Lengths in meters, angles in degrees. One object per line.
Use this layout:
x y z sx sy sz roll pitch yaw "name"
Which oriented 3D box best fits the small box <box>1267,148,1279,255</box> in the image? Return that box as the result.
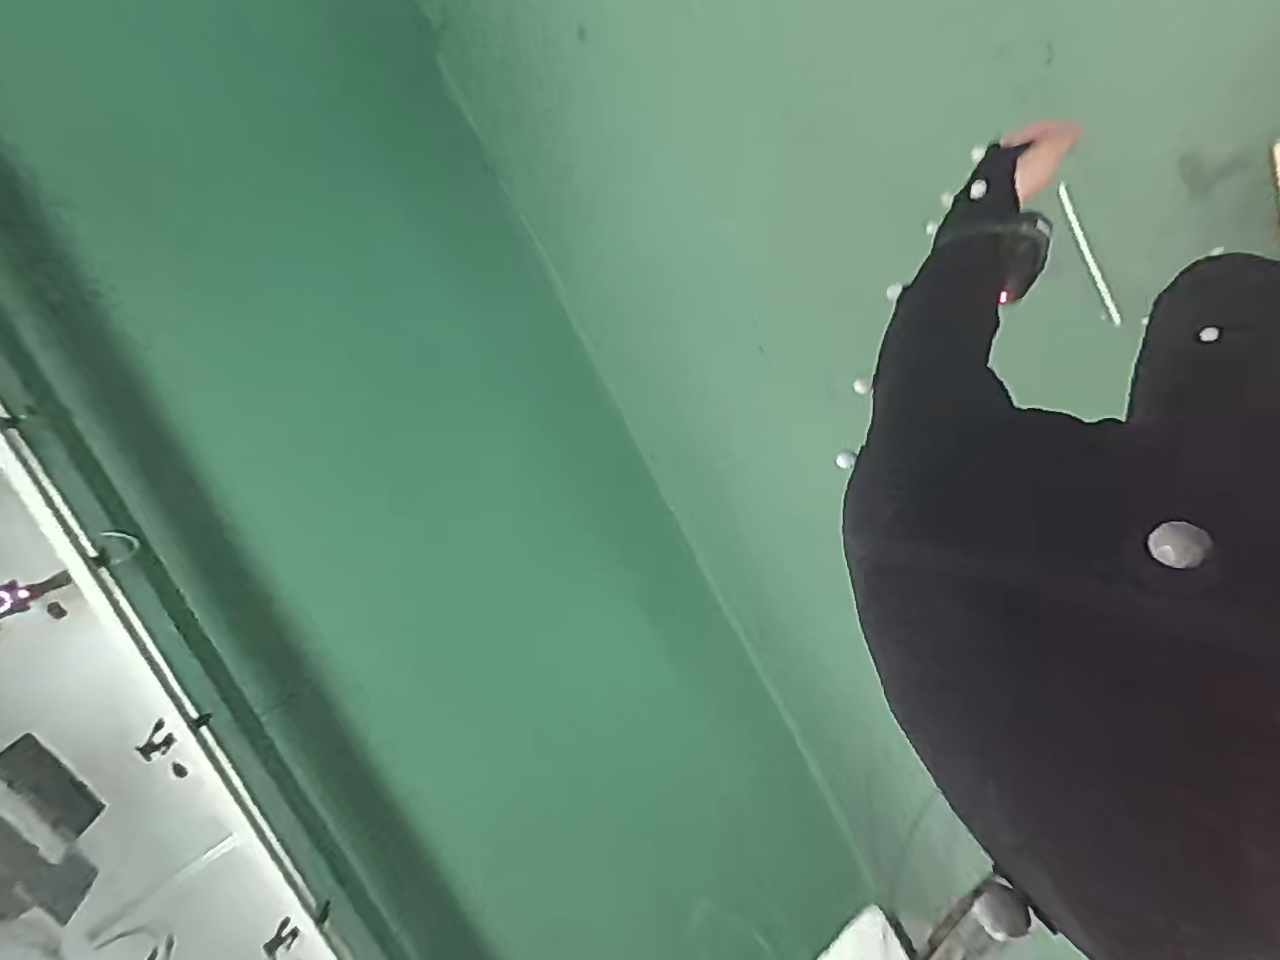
1.036 -0.424 0.756 0.168 0.176 0.179 0 115 62 "small box"
